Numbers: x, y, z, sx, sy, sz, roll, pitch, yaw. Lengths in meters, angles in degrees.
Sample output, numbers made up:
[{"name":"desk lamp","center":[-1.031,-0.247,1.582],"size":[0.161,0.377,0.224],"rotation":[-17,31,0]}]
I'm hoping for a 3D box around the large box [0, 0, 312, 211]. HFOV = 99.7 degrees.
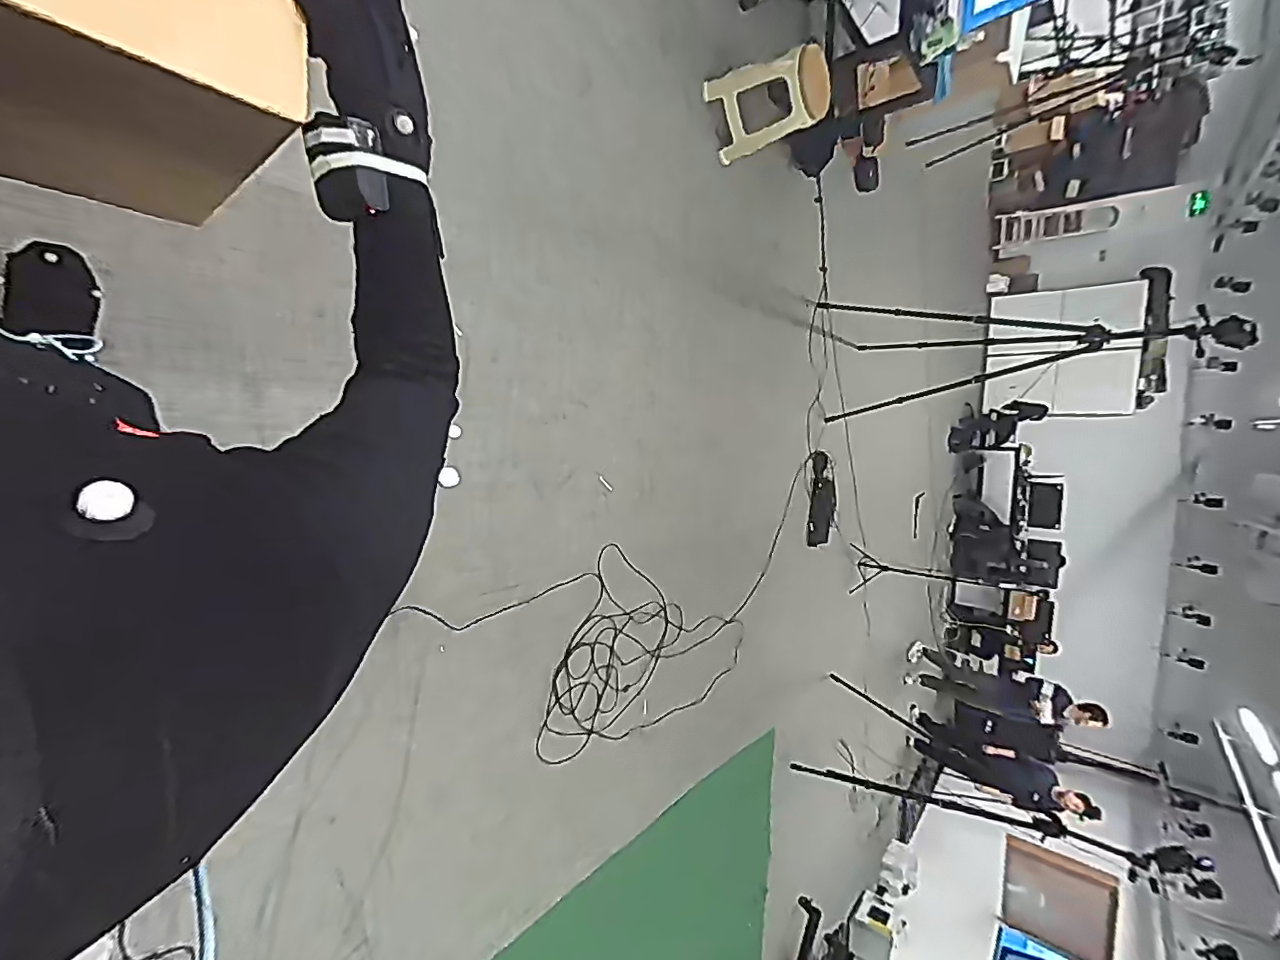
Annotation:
[{"name":"large box","center":[-0.477,-0.414,0.323],"size":[0.408,0.320,0.320],"rotation":[-3,97,-49]}]
